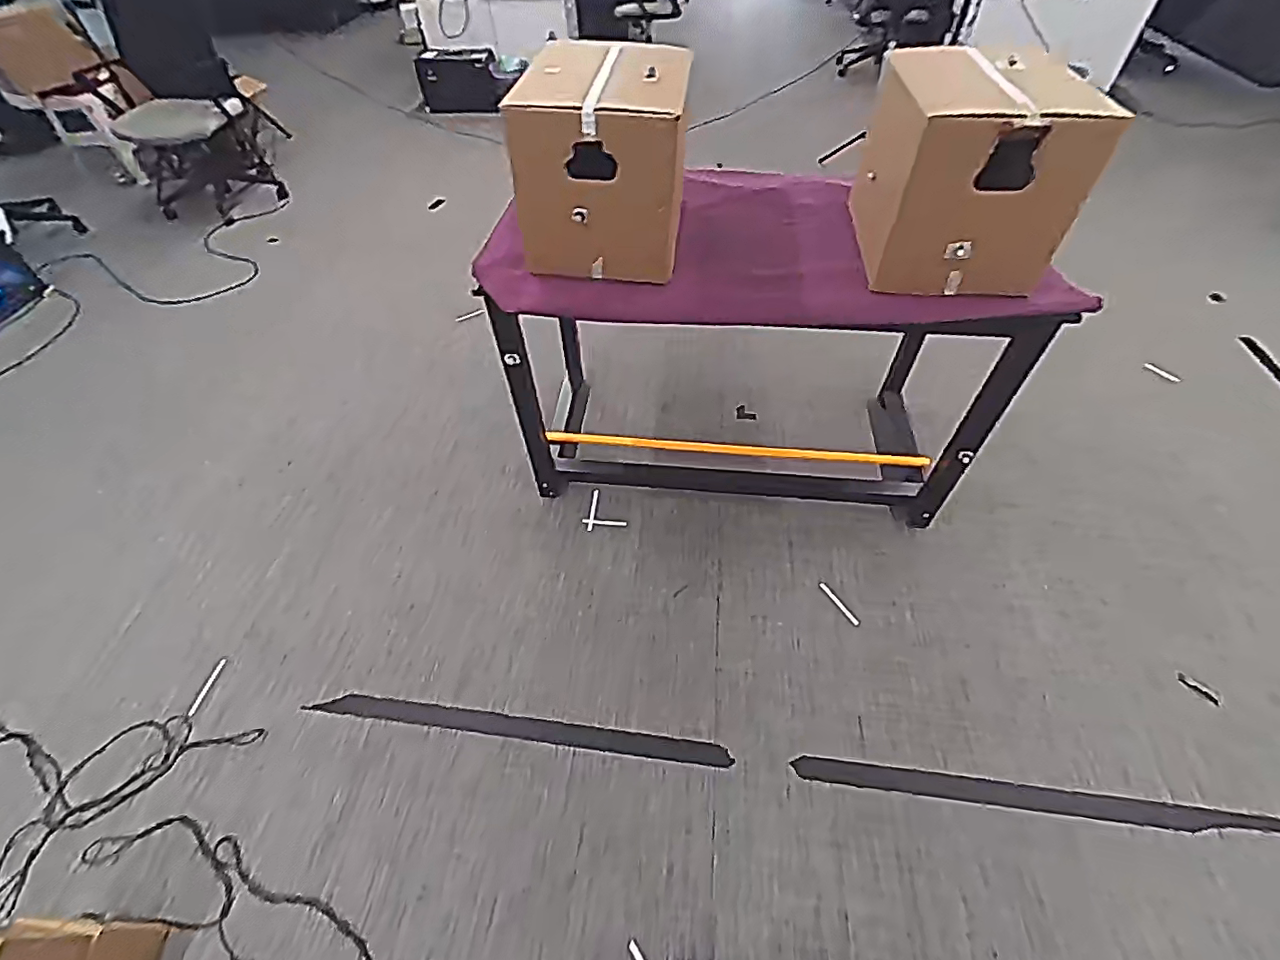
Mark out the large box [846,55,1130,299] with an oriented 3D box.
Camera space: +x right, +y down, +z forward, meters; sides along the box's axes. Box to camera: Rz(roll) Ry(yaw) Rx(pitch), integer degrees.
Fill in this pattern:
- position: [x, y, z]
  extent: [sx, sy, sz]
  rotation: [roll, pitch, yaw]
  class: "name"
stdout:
- position: [0.633, -0.607, 1.086]
  extent: [0.320, 0.320, 0.408]
  rotation: [4, 50, 5]
  class: "large box"
